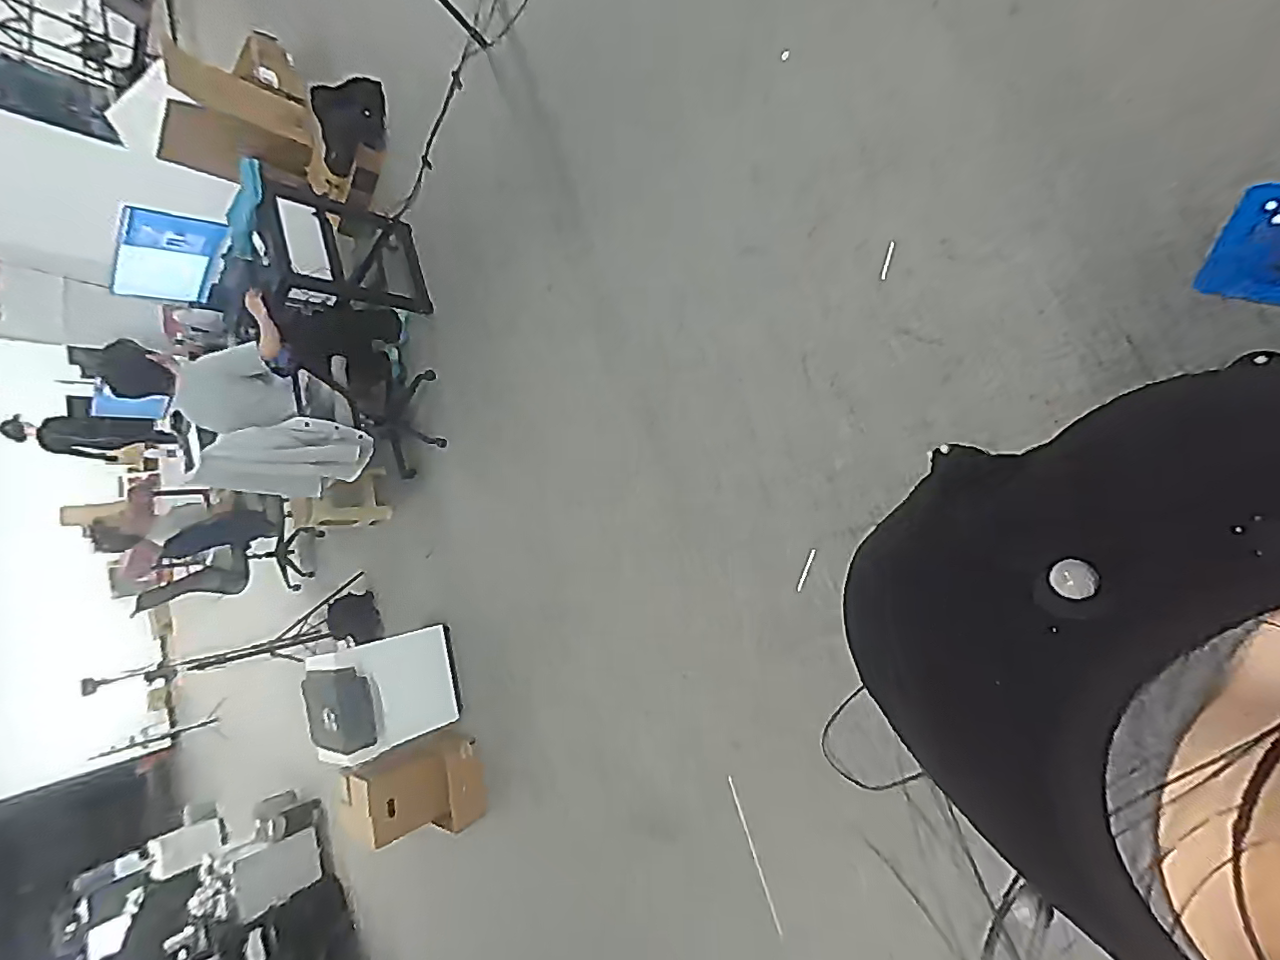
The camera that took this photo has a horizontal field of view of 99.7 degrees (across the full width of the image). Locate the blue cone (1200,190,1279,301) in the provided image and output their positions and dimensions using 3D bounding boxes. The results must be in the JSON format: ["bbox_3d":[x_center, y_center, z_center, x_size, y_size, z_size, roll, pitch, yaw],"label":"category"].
[{"bbox_3d":[1.056,-0.412,0.853,0.193,0.380,0.192,29,112,38],"label":"blue cone"}]
